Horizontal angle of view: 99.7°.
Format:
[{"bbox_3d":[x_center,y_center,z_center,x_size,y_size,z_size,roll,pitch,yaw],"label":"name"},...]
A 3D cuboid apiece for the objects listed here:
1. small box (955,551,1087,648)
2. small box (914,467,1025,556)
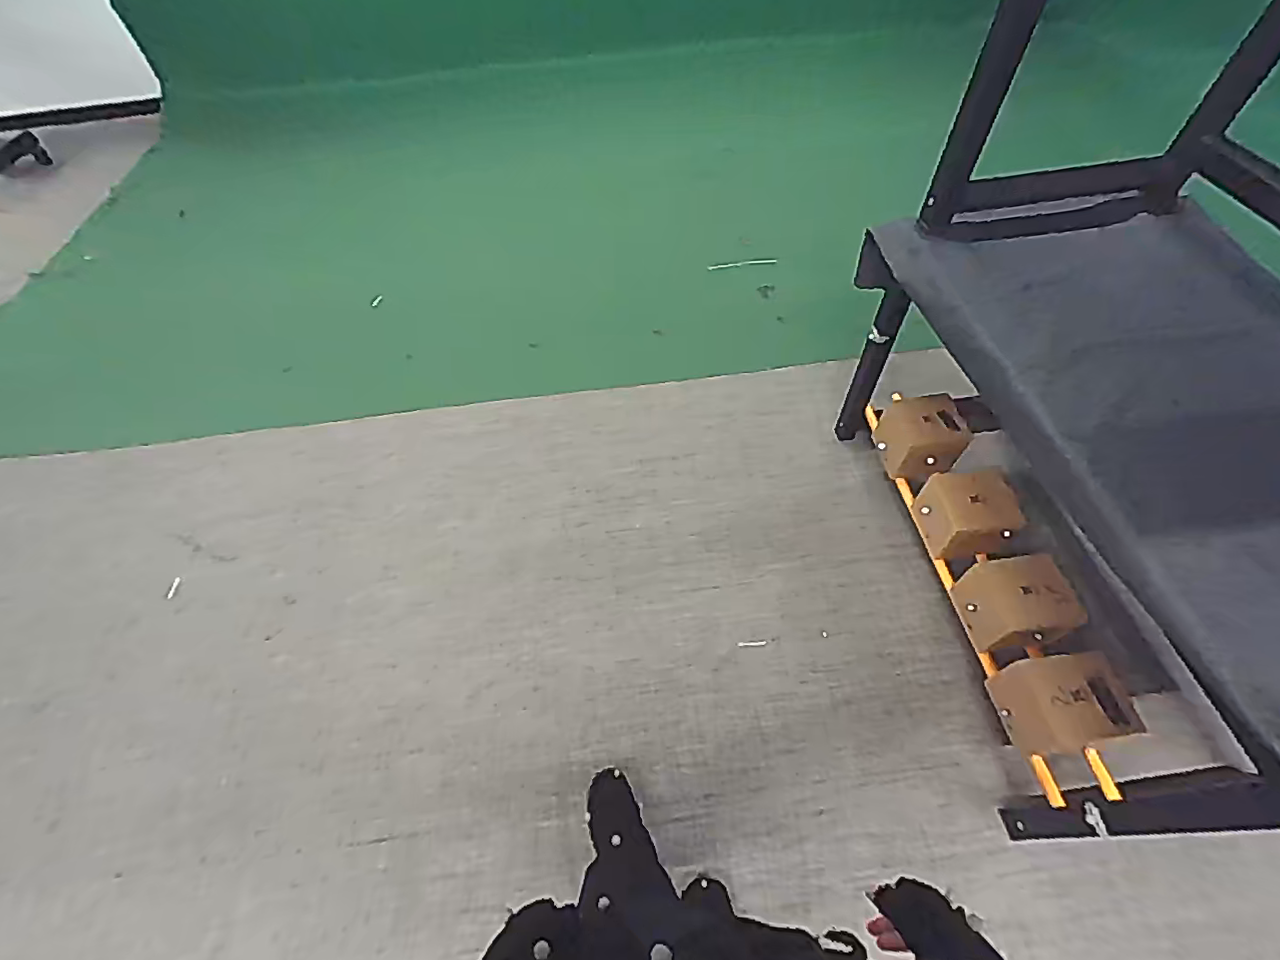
[{"bbox_3d":[0.880,0.287,1.277,0.179,0.176,0.168,-8,57,-1],"label":"small box"},{"bbox_3d":[0.846,0.087,1.416,0.179,0.176,0.168,-7,56,0],"label":"small box"}]
